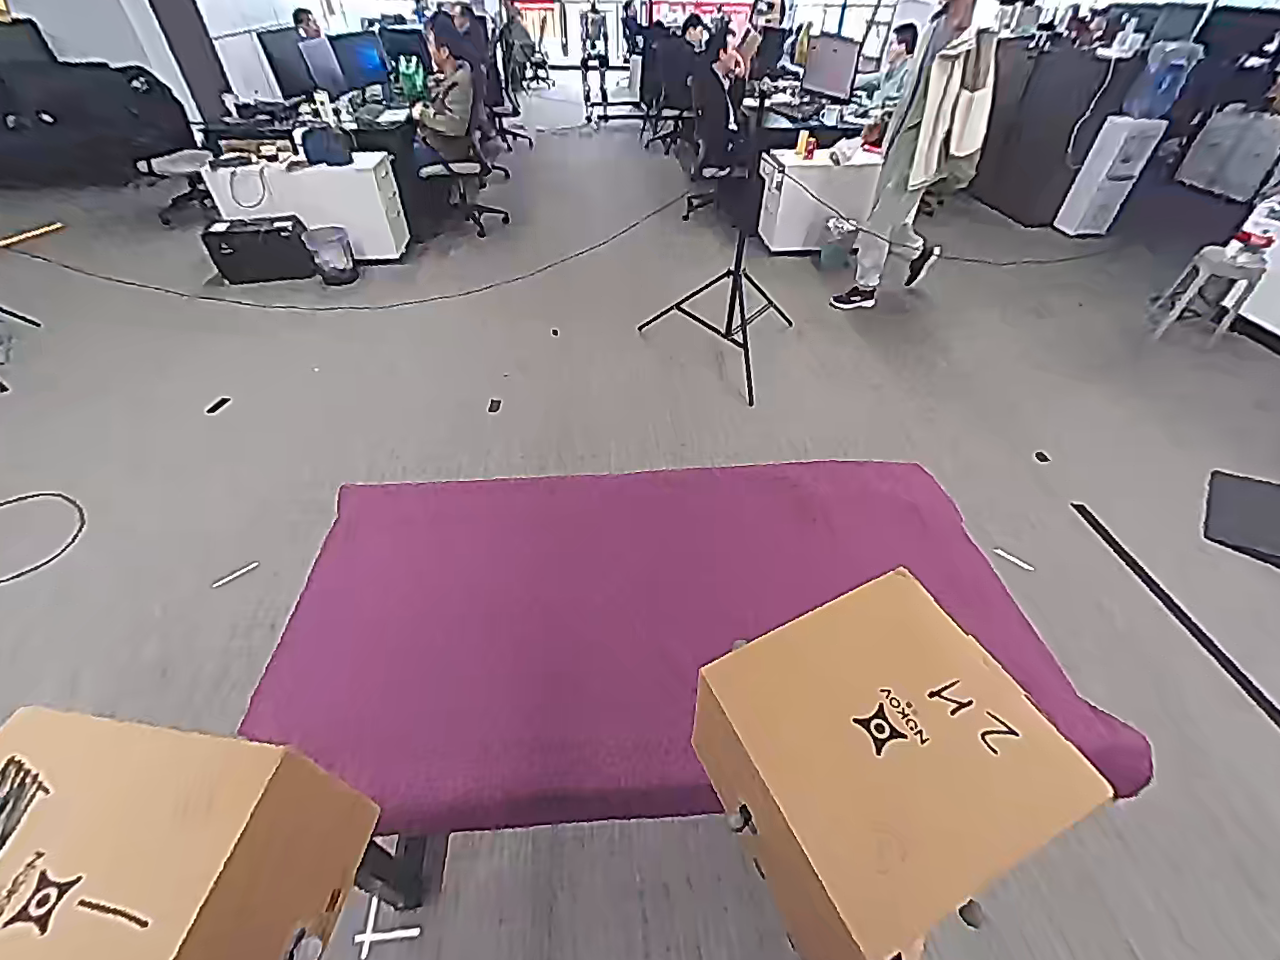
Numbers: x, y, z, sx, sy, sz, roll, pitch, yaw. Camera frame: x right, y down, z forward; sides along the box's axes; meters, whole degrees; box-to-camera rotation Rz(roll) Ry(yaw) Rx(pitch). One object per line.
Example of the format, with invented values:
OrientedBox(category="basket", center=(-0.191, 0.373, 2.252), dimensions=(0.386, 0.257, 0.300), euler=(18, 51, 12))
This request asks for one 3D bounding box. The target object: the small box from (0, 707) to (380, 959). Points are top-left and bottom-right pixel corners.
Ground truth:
OrientedBox(category="small box", center=(-0.299, 0.261, 0.331), dimensions=(0.179, 0.176, 0.168), euler=(7, 48, 4))

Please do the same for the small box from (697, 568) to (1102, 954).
OrientedBox(category="small box", center=(0.154, 0.201, 0.390), dimensions=(0.179, 0.176, 0.168), euler=(-21, 52, -16))
